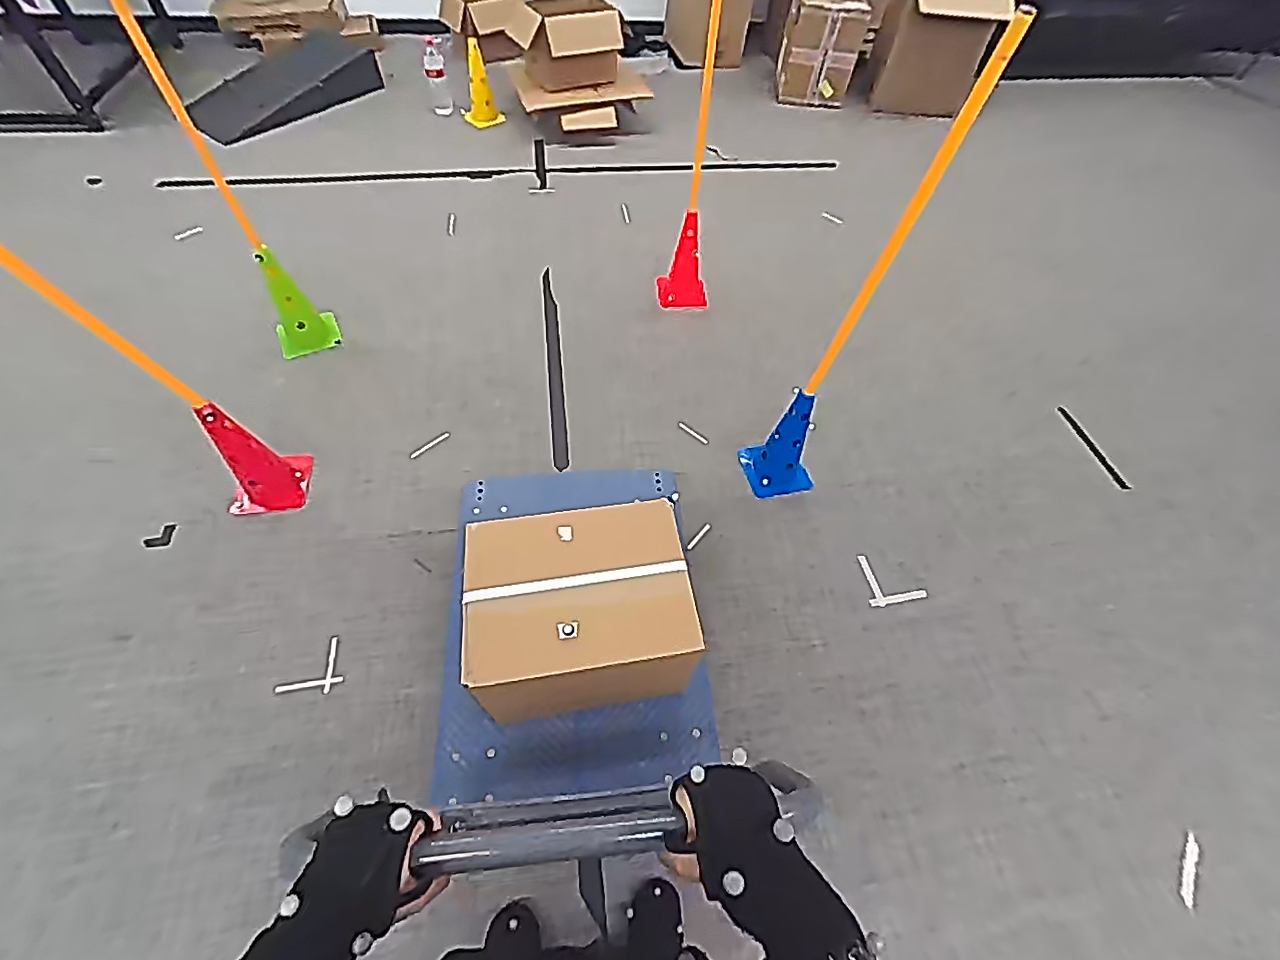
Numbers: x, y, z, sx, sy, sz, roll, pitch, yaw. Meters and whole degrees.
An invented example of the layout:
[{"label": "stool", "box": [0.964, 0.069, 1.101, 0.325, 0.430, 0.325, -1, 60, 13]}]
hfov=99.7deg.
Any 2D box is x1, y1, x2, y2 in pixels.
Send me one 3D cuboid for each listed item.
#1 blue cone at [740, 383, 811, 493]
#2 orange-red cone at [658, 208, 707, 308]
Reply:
[{"label": "blue cone", "box": [0.446, -0.137, 1.625, 0.193, 0.380, 0.192, -9, 56, -10]}, {"label": "orange-red cone", "box": [0.186, -0.874, 2.094, 0.199, 0.360, 0.198, 1, 56, -5]}]
